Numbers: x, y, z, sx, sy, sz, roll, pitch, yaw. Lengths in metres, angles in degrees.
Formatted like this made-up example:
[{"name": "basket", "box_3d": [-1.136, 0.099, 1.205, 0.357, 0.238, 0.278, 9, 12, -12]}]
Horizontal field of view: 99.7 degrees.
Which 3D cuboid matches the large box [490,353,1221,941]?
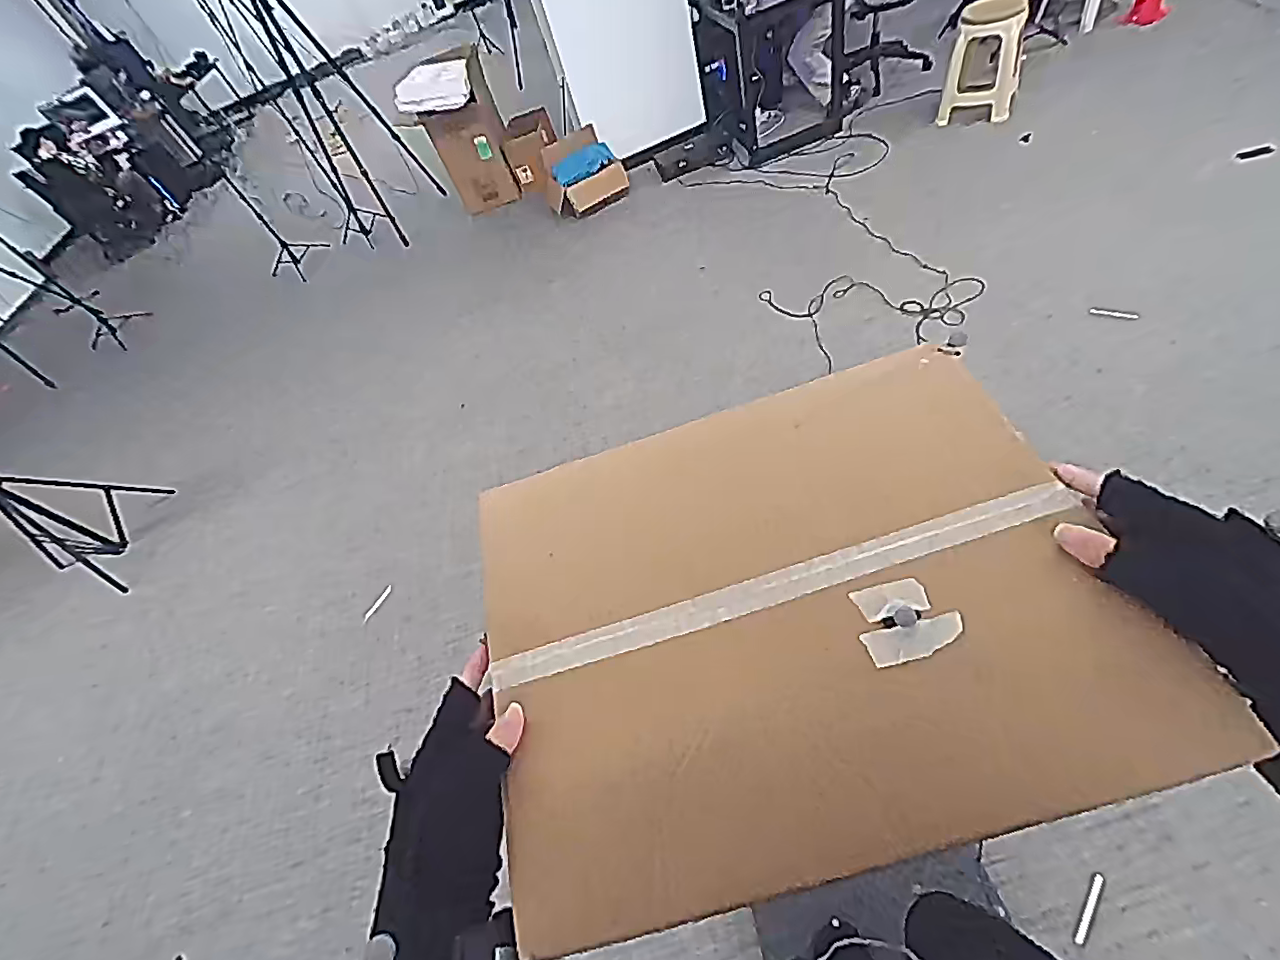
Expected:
[{"name": "large box", "box_3d": [0.122, 0.153, 0.503, 0.408, 0.320, 0.320, -19, 57, 3]}]
